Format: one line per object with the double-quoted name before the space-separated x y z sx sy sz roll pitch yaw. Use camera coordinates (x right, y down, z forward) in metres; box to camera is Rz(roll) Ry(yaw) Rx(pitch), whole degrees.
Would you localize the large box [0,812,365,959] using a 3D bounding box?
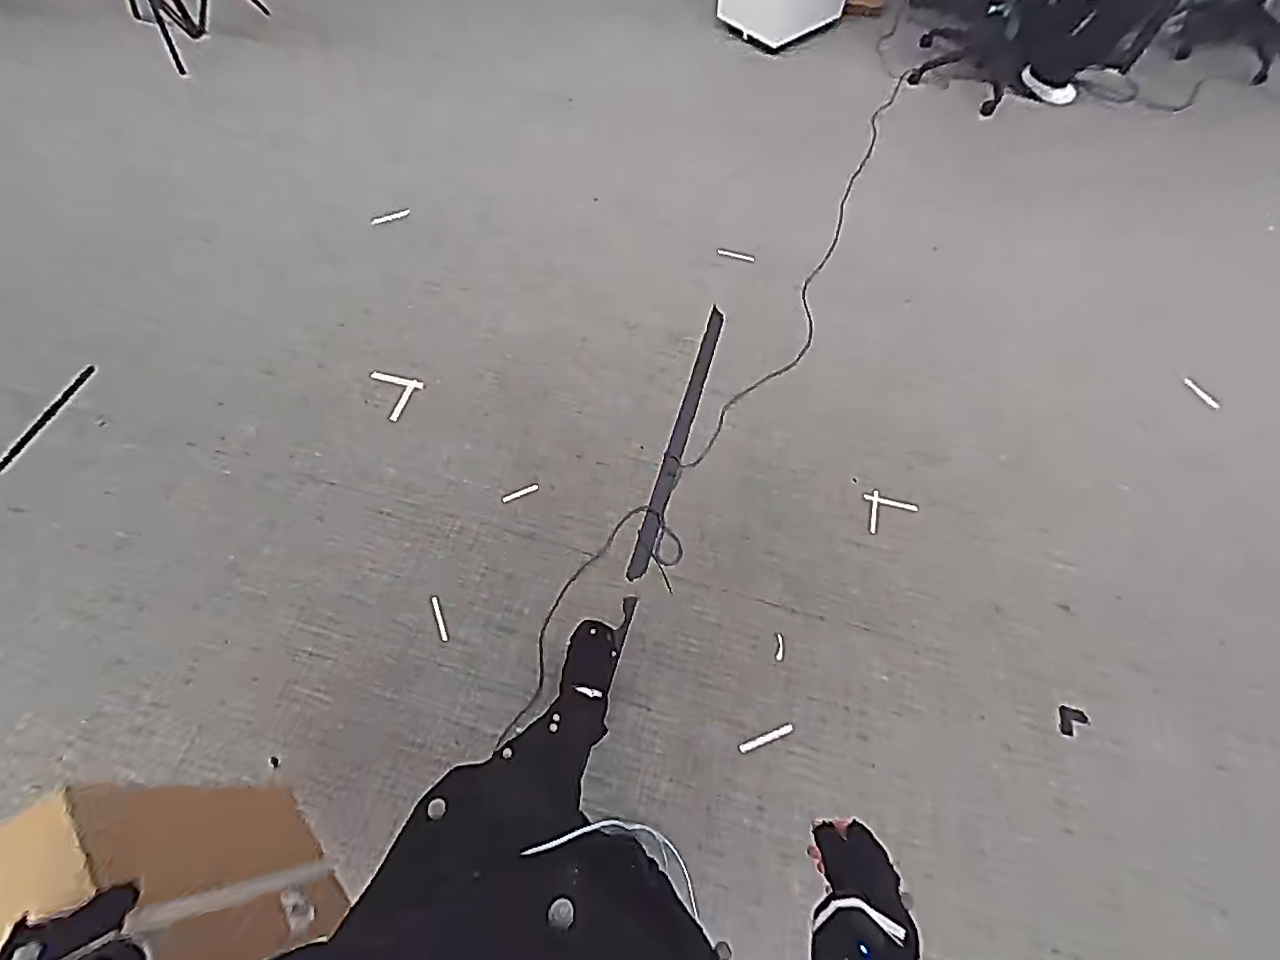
"large box" -0.590 0.628 0.608 0.320 0.408 0.320 -39 66 -21
